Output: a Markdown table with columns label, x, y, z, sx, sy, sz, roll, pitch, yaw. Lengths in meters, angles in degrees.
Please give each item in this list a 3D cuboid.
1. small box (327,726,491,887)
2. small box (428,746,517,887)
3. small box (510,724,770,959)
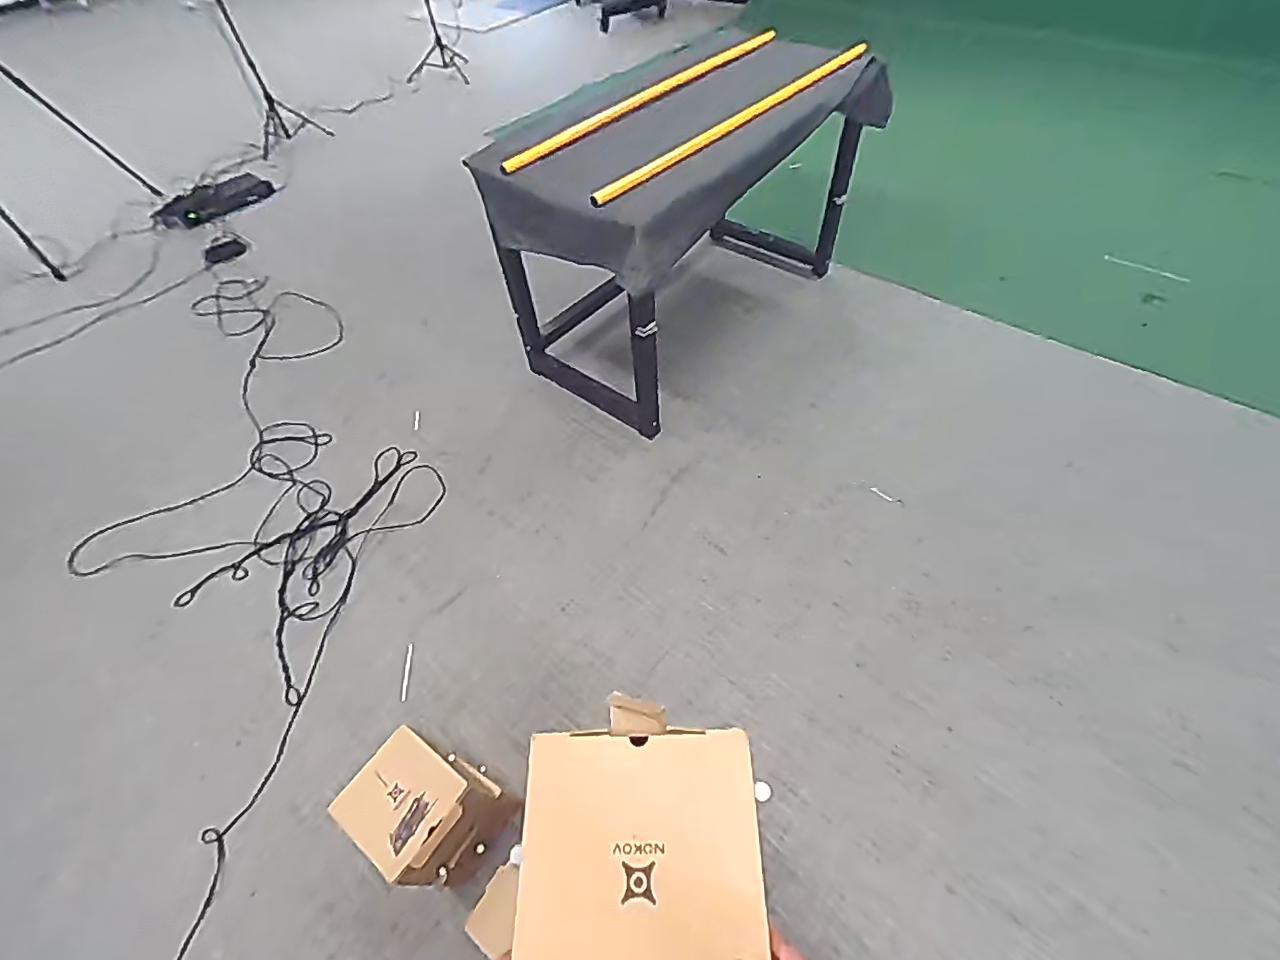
| label | x | y | z | sx | sy | sz | roll | pitch | yaw |
| --- | --- | --- | --- | --- | --- | --- | --- | --- | --- |
| small box | -0.392 | 0.572 | 0.951 | 0.179 | 0.176 | 0.168 | 28 | 59 | 24 |
| small box | -0.371 | 0.673 | 1.080 | 0.168 | 0.176 | 0.179 | 23 | 58 | 21 |
| small box | 0.008 | 0.298 | 0.426 | 0.168 | 0.176 | 0.179 | -3 | 58 | 4 |
